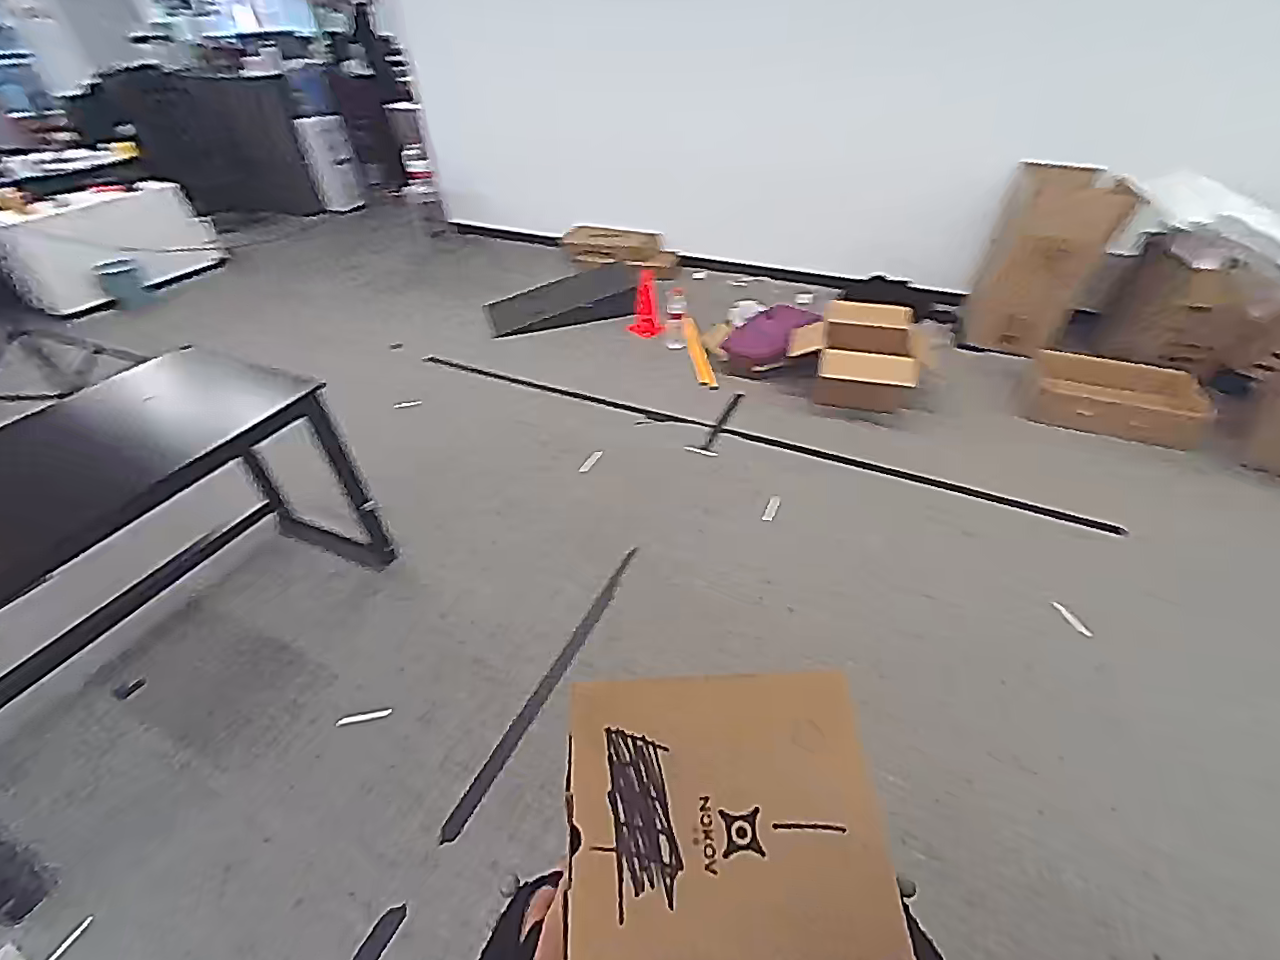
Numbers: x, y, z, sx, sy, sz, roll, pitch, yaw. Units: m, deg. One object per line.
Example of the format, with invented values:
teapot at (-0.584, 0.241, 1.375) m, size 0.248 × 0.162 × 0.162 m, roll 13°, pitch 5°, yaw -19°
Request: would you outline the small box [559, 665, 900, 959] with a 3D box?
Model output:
small box at (0.043, 0.237, 0.375) m, size 0.179 × 0.176 × 0.168 m, roll -3°, pitch 58°, yaw -2°
